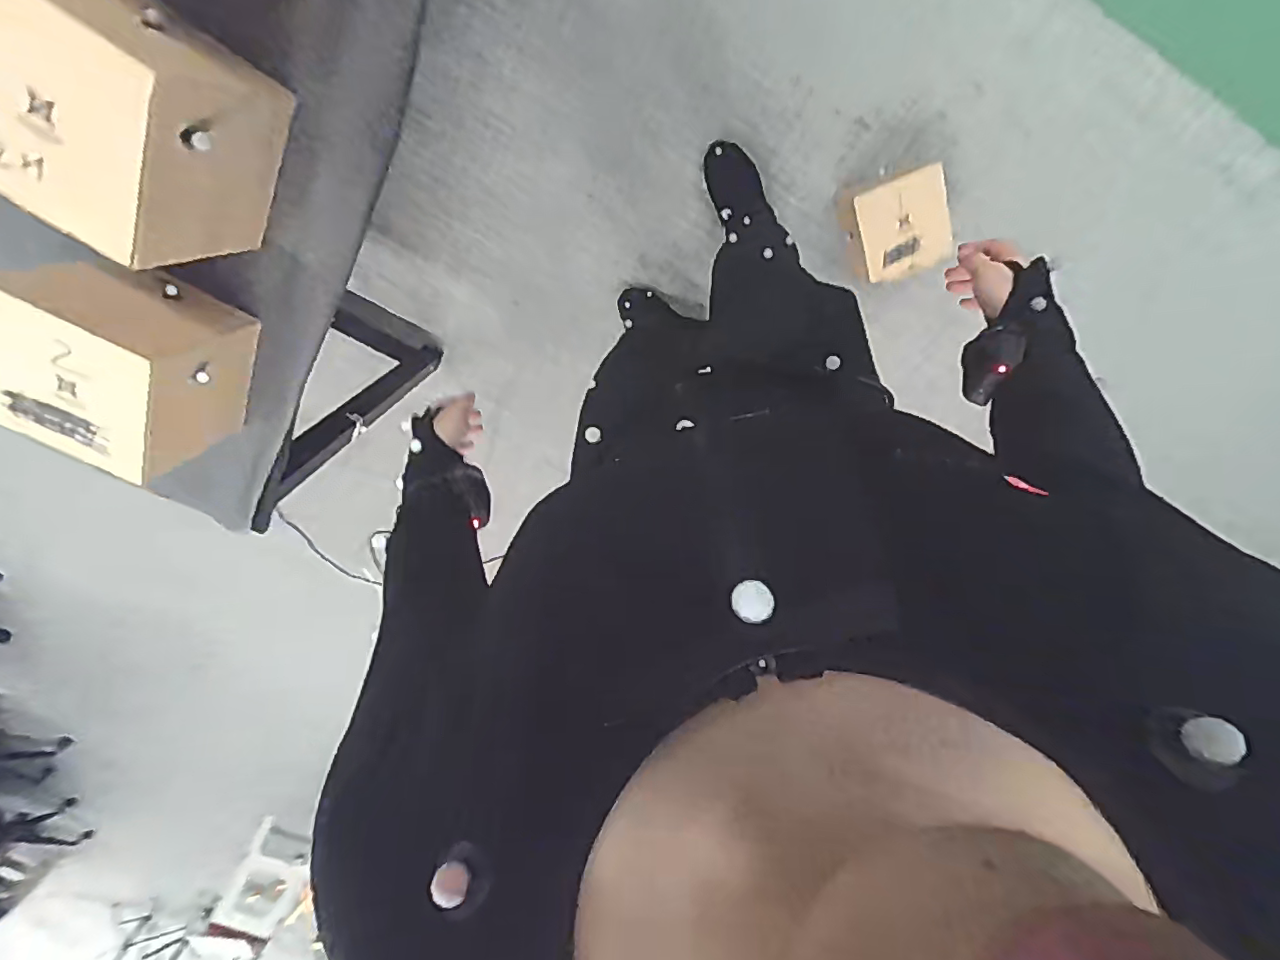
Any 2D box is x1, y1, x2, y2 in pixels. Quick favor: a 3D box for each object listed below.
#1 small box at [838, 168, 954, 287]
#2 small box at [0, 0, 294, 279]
[{"bbox_3d":[0.534,-0.535,1.140,0.168,0.176,0.179,-18,116,16],"label":"small box"},{"bbox_3d":[-0.470,-0.327,0.511,0.168,0.176,0.179,33,119,-11],"label":"small box"}]
